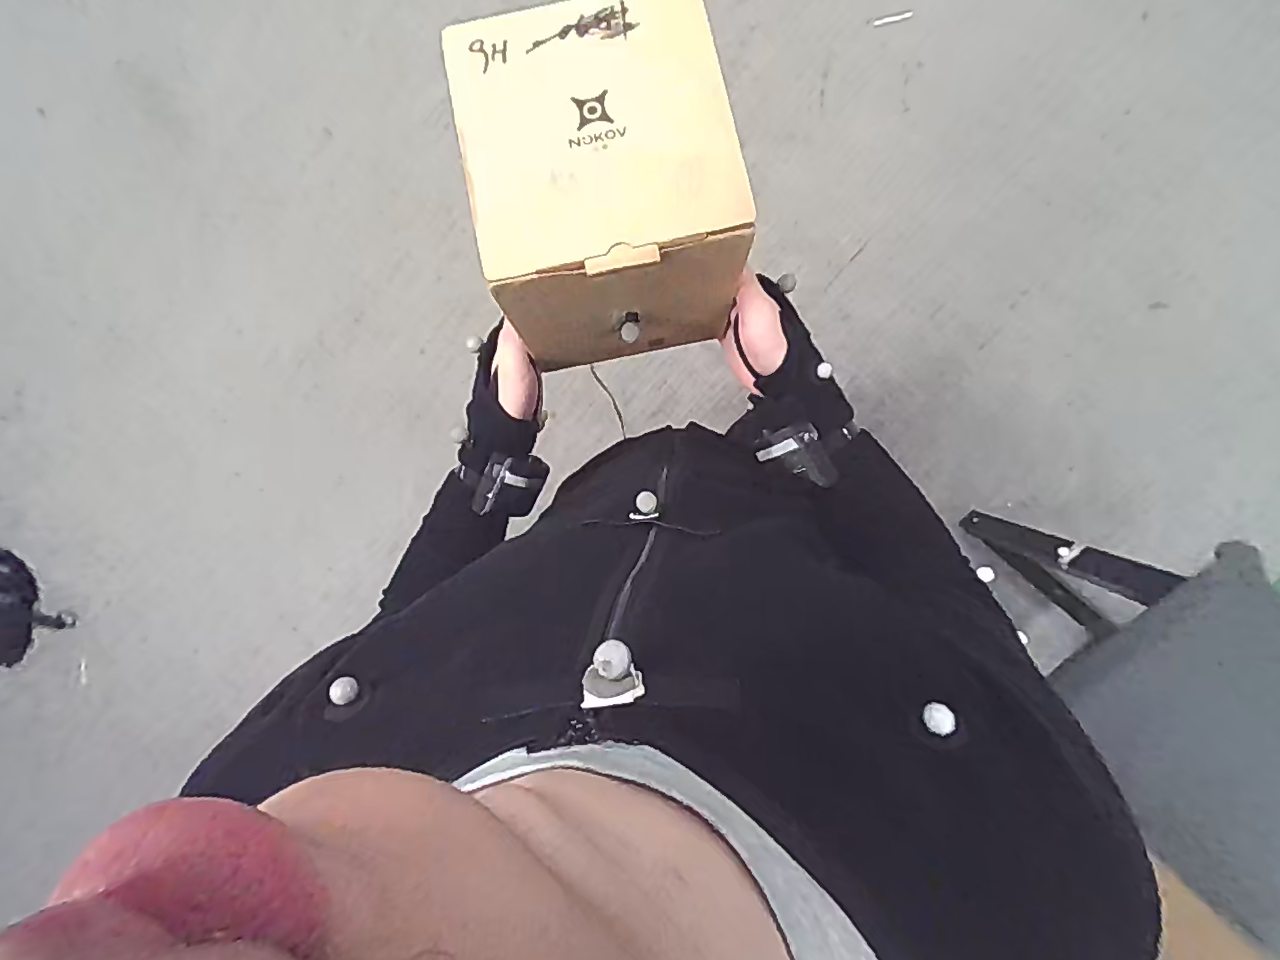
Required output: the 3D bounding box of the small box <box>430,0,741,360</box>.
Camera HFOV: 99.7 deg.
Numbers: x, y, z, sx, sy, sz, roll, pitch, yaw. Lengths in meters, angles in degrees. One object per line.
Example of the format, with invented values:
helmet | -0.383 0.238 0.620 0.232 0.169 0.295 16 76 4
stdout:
small box | -0.032 -0.201 0.403 0.168 0.176 0.179 -11 84 0
